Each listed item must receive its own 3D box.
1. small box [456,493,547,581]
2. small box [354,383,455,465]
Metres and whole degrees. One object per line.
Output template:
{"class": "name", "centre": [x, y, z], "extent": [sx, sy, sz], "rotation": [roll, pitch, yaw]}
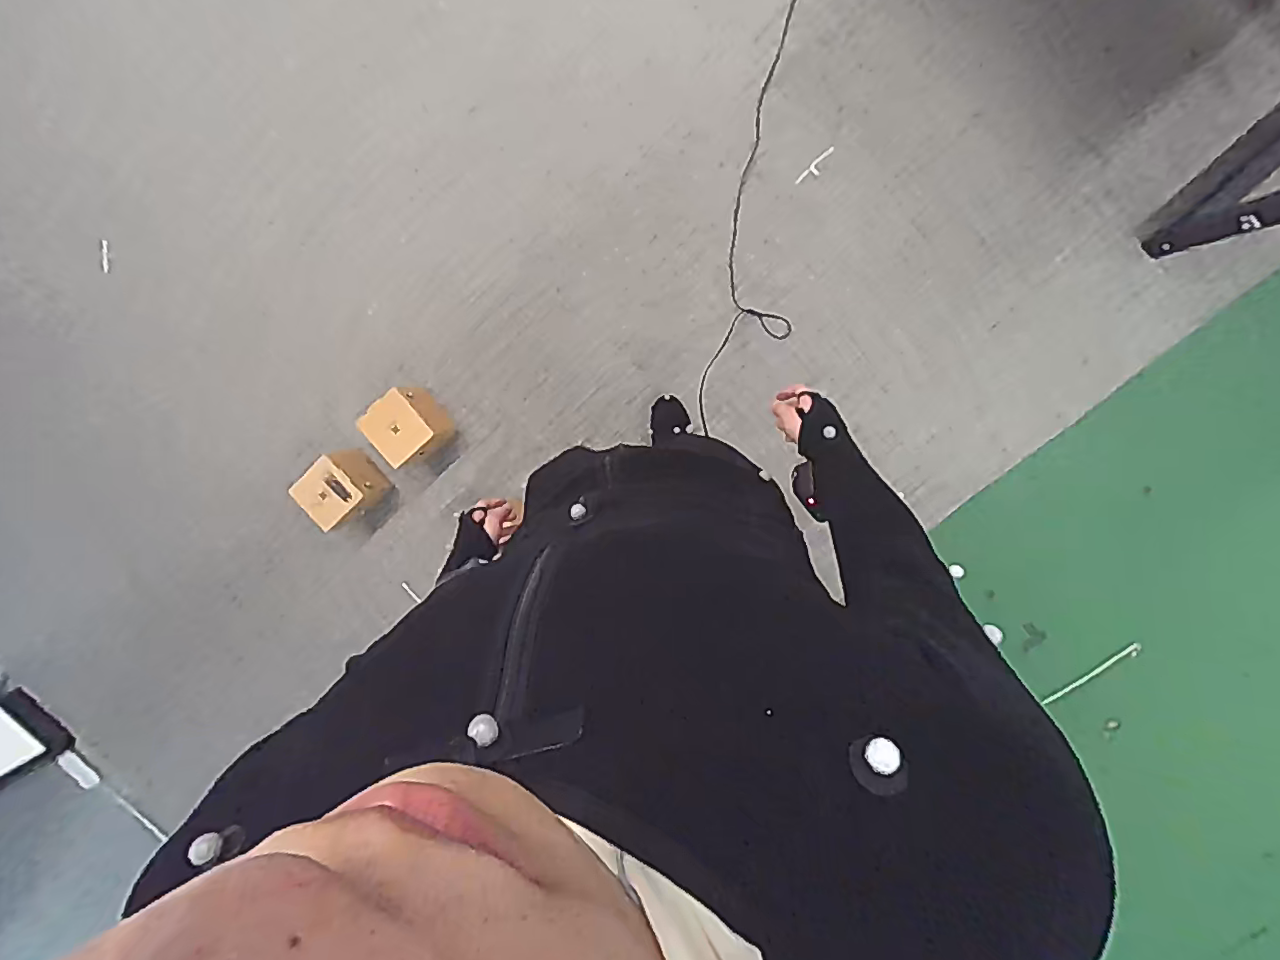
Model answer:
{"class": "small box", "centre": [-0.404, 0.165, 1.614], "extent": [0.179, 0.176, 0.168], "rotation": [-39, 95, 12]}
{"class": "small box", "centre": [-0.678, -0.171, 1.580], "extent": [0.168, 0.176, 0.179], "rotation": [-39, 94, 12]}
